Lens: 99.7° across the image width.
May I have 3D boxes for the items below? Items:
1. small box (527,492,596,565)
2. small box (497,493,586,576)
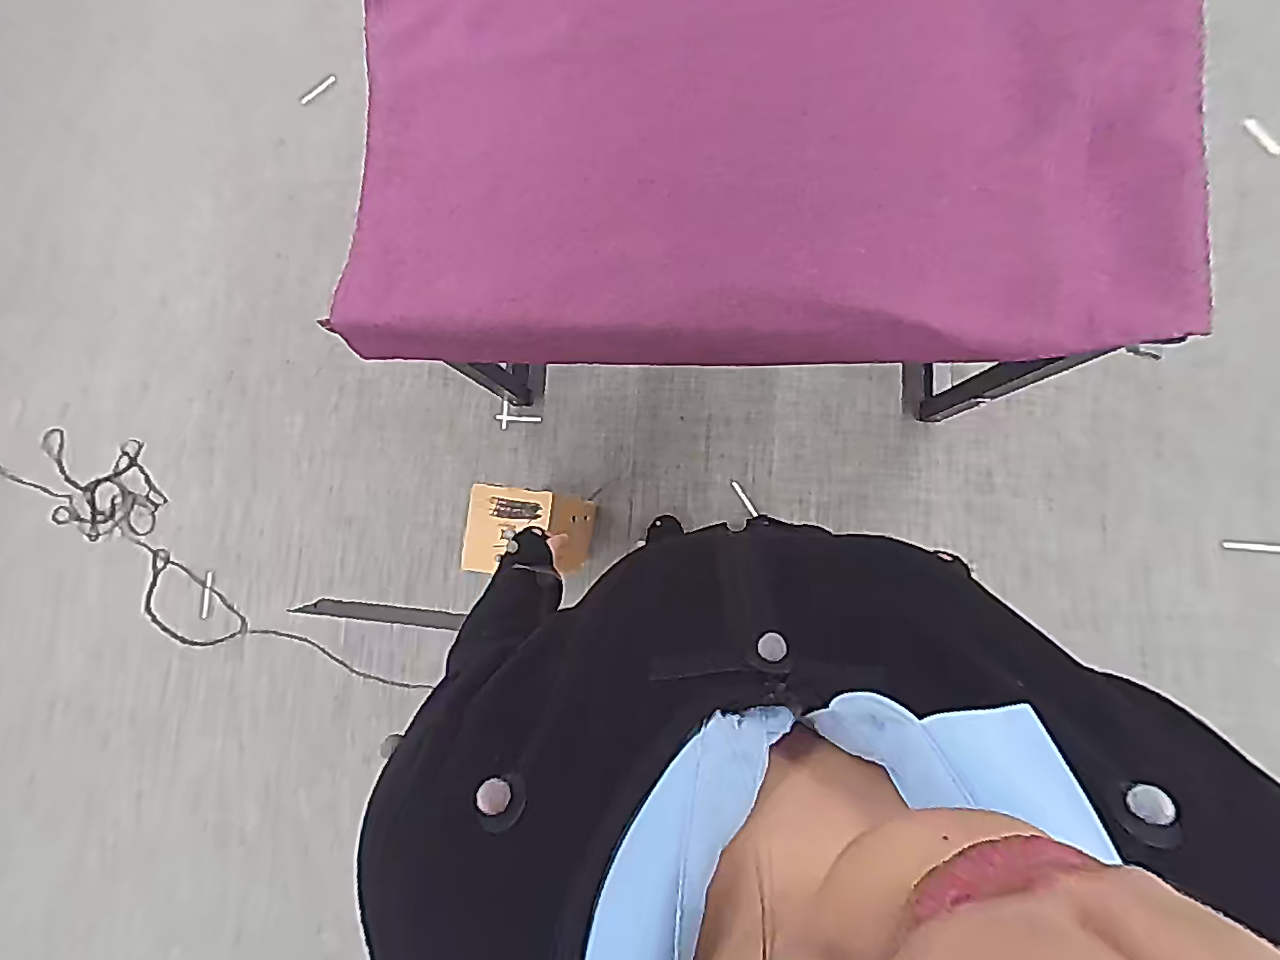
[{"bbox_3d":[-0.221,0.136,1.461,0.168,0.176,0.179,10,87,6],"label":"small box"},{"bbox_3d":[-0.229,0.128,1.297,0.168,0.176,0.179,5,87,6],"label":"small box"}]
